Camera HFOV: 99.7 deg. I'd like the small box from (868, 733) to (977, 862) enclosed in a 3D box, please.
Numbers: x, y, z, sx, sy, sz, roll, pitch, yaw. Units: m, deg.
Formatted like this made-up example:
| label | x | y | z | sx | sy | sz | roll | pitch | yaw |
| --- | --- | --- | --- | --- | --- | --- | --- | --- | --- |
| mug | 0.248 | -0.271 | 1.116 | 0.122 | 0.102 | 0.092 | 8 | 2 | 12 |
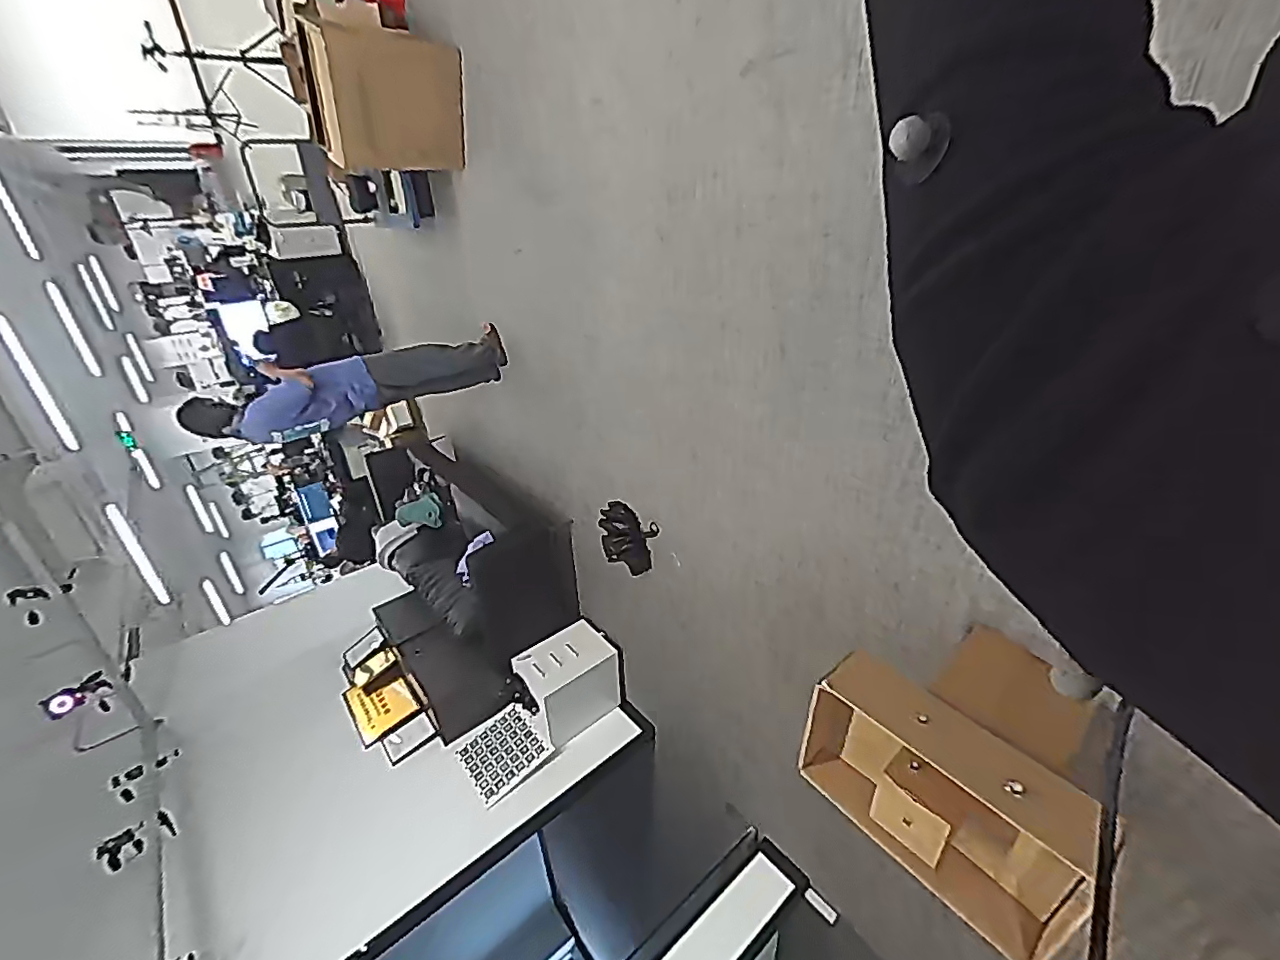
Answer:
| label | x | y | z | sx | sy | sz | roll | pitch | yaw |
| --- | --- | --- | --- | --- | --- | --- | --- | --- | --- |
| small box | 0.686 | 0.761 | 1.313 | 0.168 | 0.176 | 0.179 | 29 | 133 | 44 |
